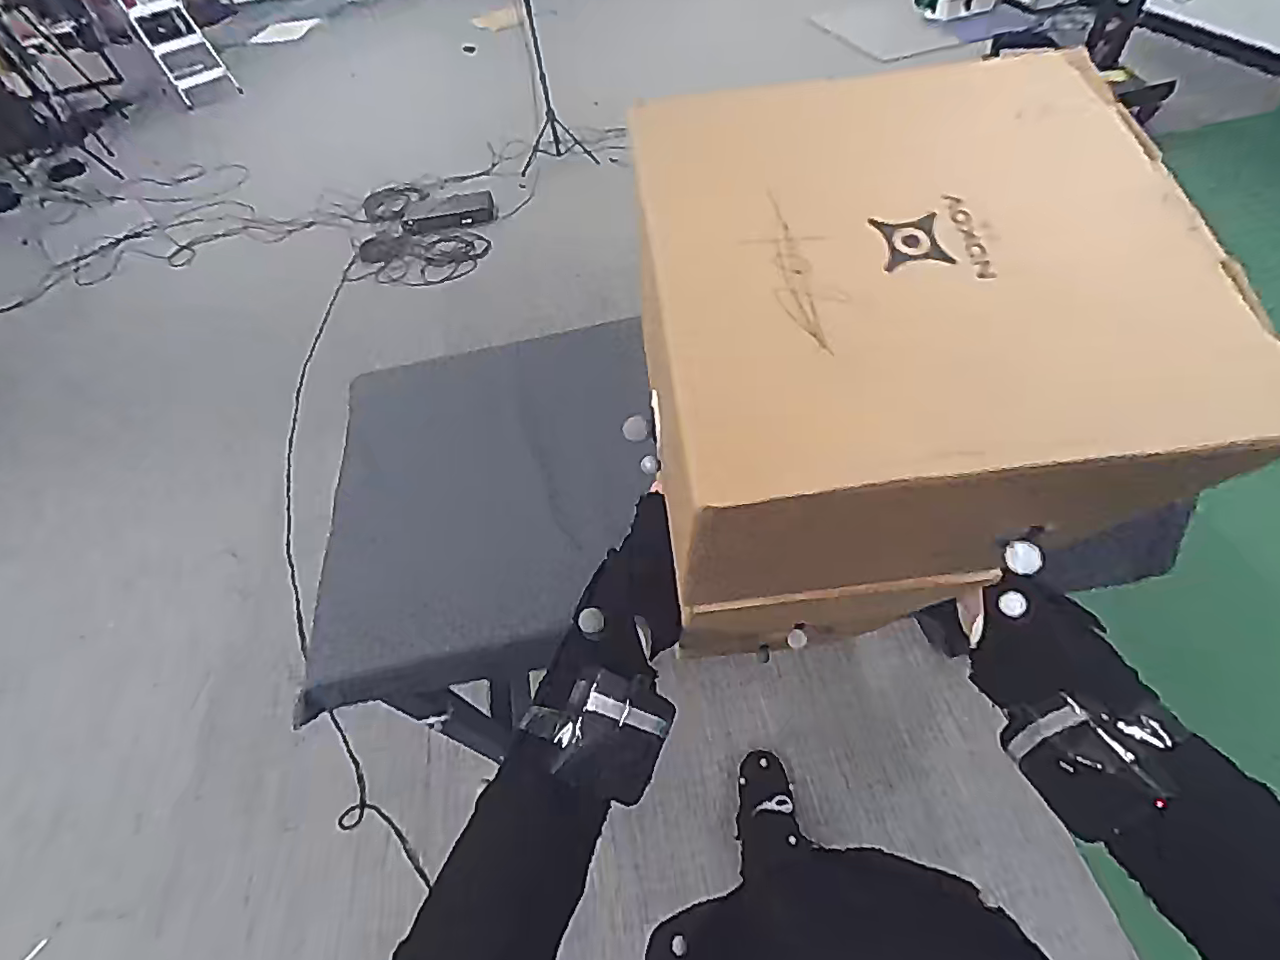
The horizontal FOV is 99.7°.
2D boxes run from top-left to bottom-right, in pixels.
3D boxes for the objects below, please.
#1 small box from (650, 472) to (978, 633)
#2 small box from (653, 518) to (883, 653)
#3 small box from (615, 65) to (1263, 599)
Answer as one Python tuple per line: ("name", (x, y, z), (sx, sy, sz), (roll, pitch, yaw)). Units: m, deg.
("small box", (0.101, 0.015, 0.407), (0.179, 0.176, 0.168), (-7, 67, 0))
("small box", (0.112, 0.079, 0.558), (0.179, 0.176, 0.168), (-9, 69, -2))
("small box", (0.089, -0.046, 0.258), (0.179, 0.176, 0.168), (-9, 68, 1))
